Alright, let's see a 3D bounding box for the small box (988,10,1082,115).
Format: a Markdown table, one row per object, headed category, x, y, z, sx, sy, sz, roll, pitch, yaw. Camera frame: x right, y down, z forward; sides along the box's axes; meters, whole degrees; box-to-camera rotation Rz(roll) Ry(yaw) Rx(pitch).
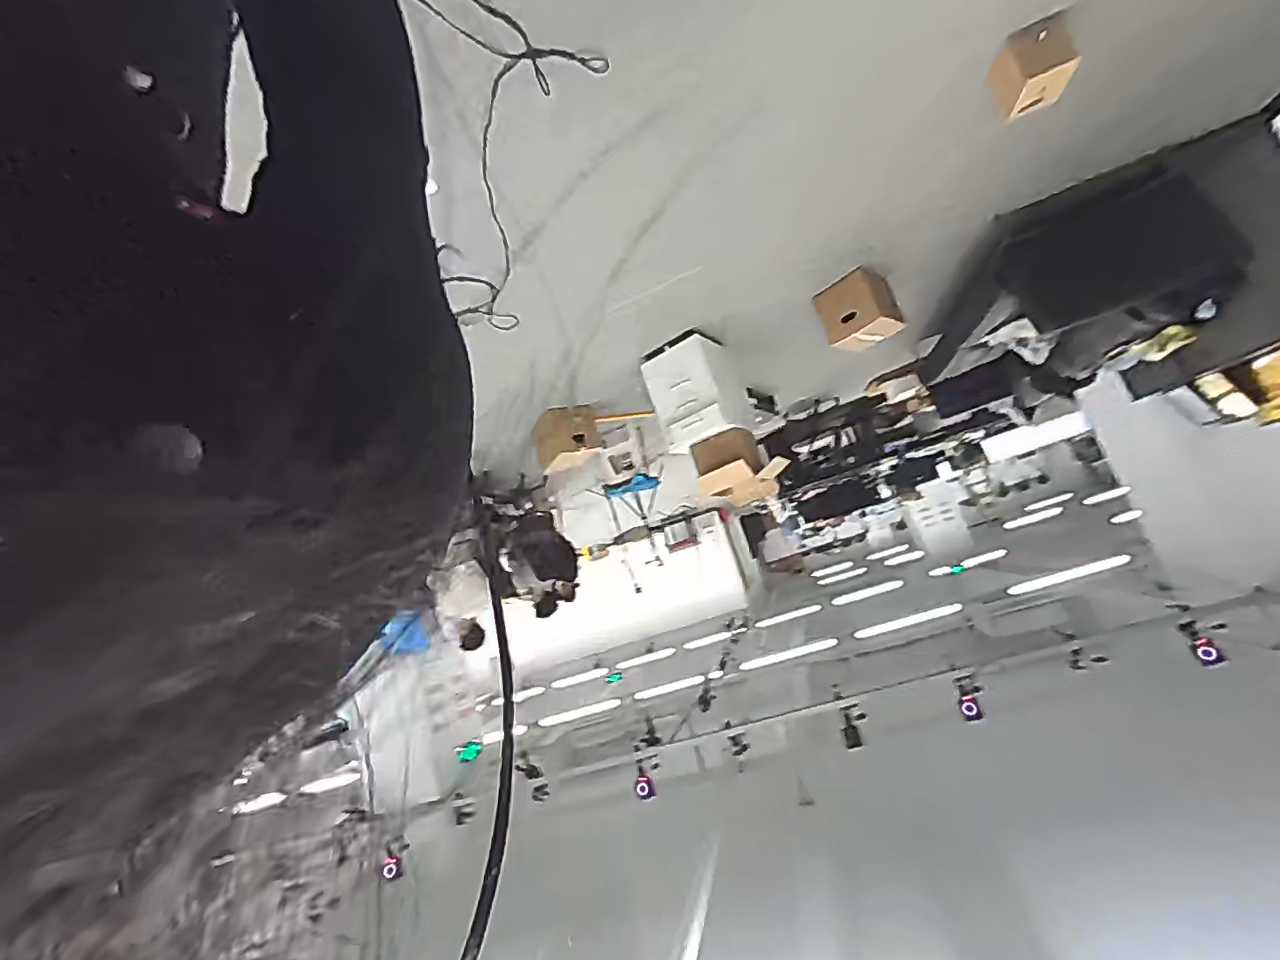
| category | x | y | z | sx | sy | sz | roll | pitch | yaw |
| --- | --- | --- | --- | --- | --- | --- | --- | --- | --- |
| small box | 1.272 | -1.354 | 1.758 | 0.168 | 0.176 | 0.179 | -20 | 169 | 11 |
